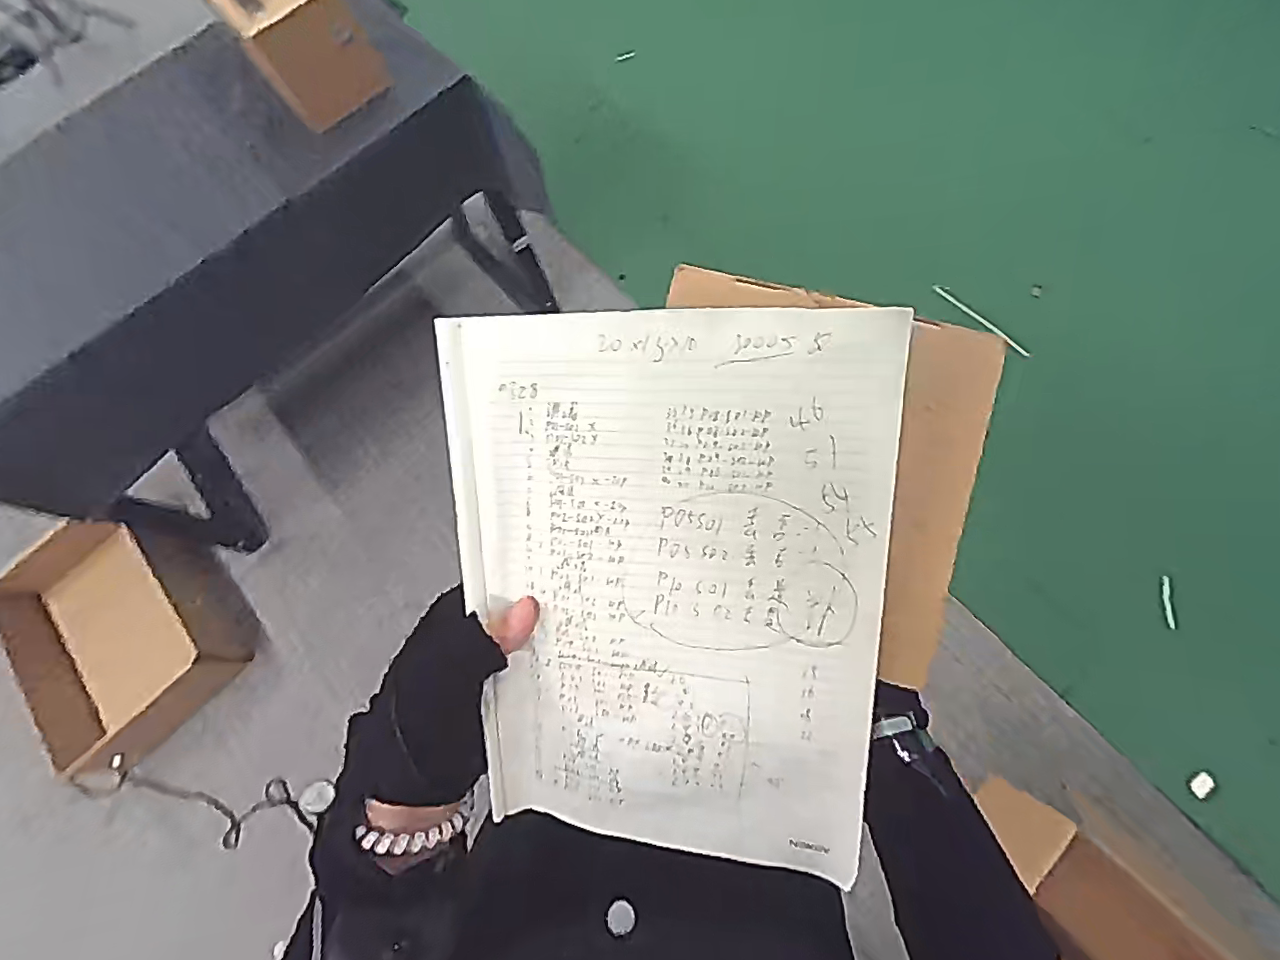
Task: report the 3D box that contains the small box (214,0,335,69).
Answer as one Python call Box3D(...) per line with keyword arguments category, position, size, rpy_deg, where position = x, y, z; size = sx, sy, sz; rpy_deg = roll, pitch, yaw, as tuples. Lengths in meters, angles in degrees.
Box3D(category="small box", position=(-0.745, -0.958, 1.054), size=(0.168, 0.176, 0.179), rpy_deg=(-37, 72, -5))

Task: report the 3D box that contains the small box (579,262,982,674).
Box3D(category="small box", position=(0.076, -0.003, 0.347), size=(0.168, 0.176, 0.179), rpy_deg=(15, 85, 6))
